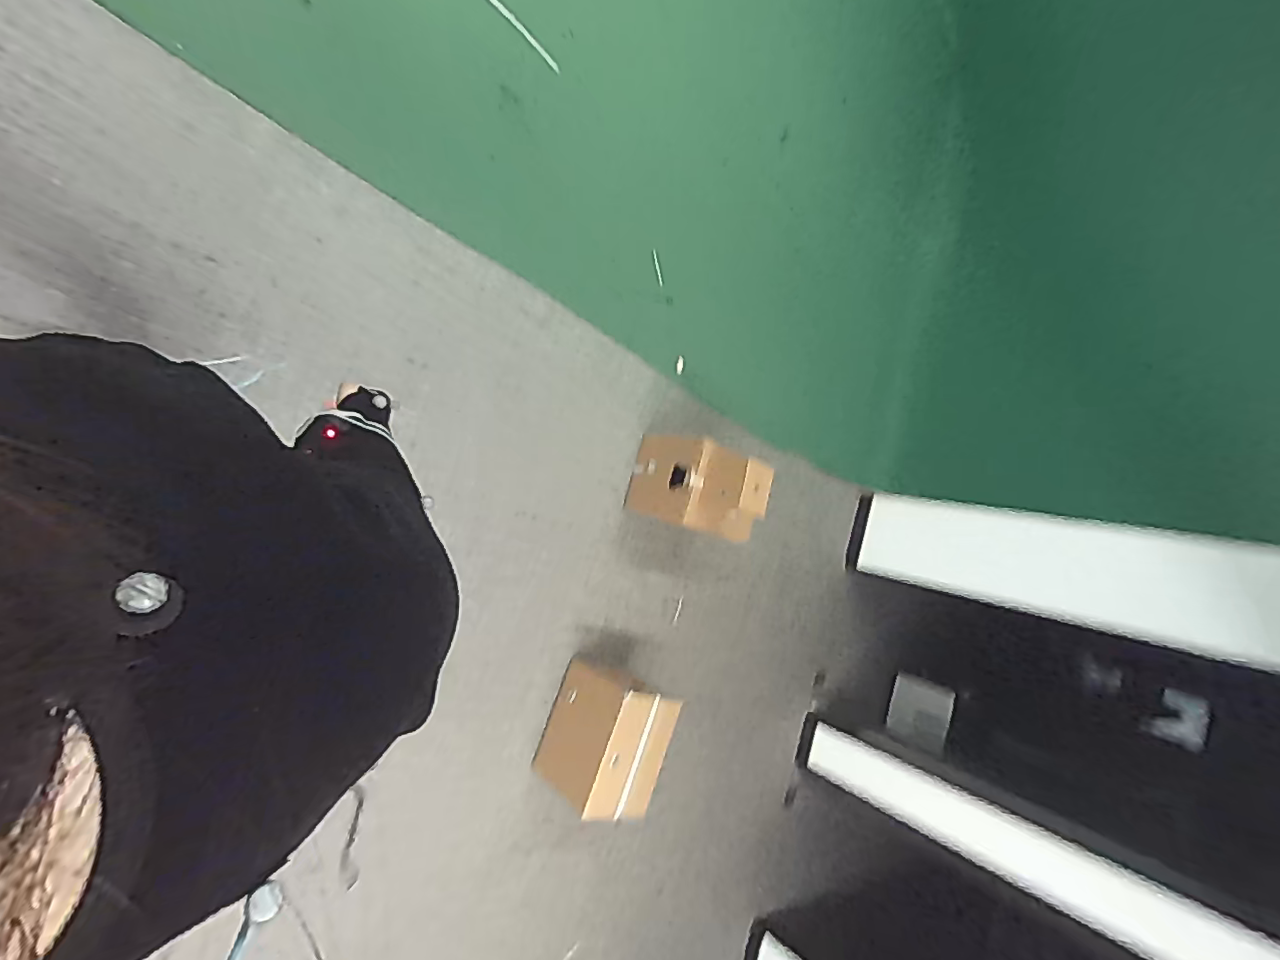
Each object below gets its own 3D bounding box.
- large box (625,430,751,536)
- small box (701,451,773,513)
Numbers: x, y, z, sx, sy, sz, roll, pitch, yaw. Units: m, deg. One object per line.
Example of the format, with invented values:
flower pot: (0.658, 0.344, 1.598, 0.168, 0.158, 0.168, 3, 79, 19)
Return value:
large box: (0.209, 0.011, 2.098, 0.408, 0.320, 0.320, 21, 83, -44)
small box: (0.333, 0.004, 1.875, 0.168, 0.176, 0.179, 19, 82, -44)
